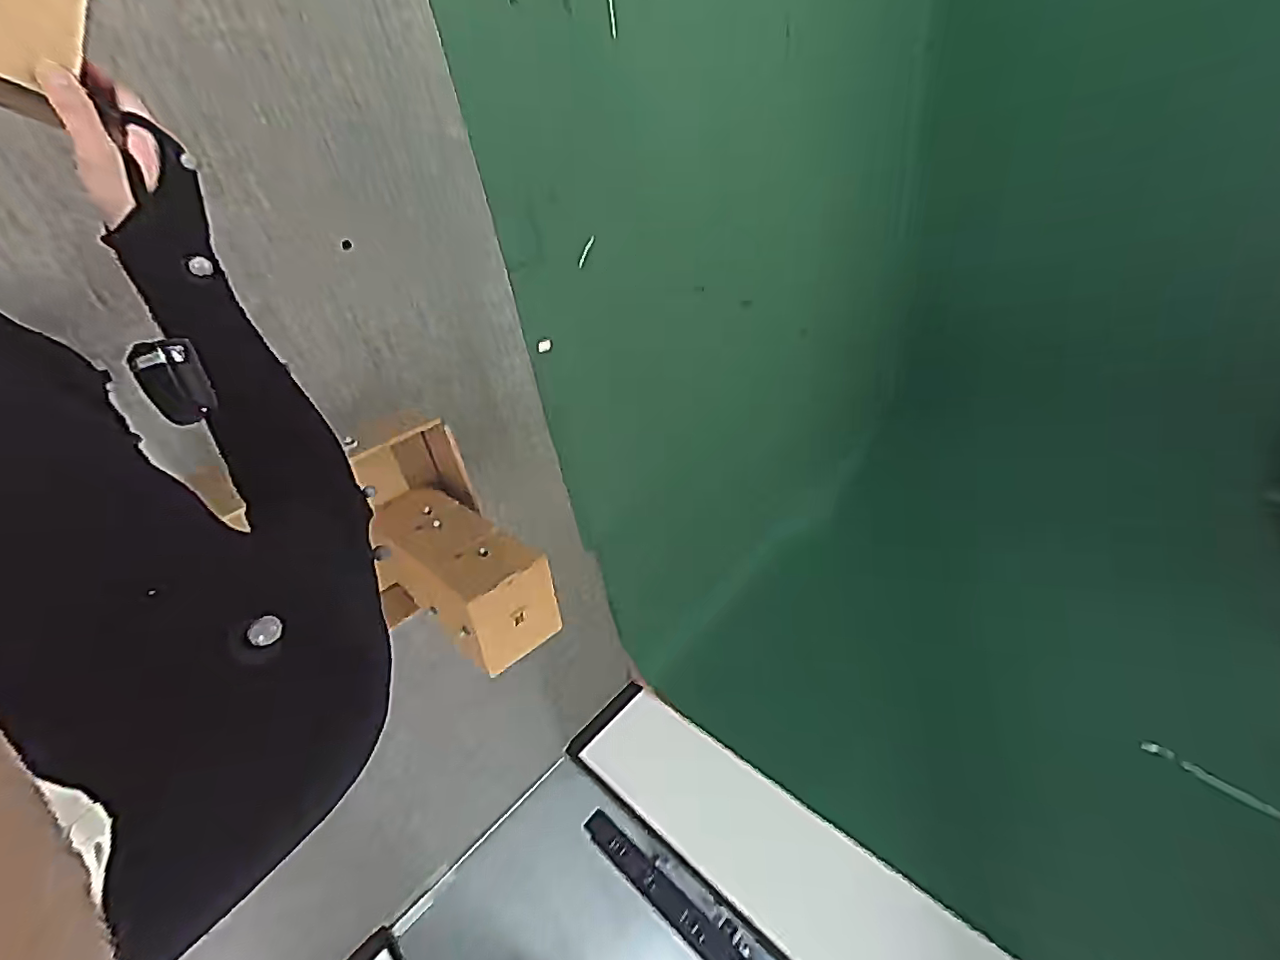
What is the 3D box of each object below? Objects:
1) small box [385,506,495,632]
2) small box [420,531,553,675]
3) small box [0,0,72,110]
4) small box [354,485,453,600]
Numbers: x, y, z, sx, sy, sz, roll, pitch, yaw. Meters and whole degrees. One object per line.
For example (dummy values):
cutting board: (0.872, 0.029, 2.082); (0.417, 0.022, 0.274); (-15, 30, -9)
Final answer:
small box: (-0.406, 0.180, 1.142); (0.168, 0.176, 0.179); (-31, 127, -37)
small box: (-0.292, 0.226, 1.035); (0.168, 0.176, 0.179); (-29, 125, -37)
small box: (-0.497, -0.385, 0.356); (0.168, 0.176, 0.179); (5, 104, -50)
small box: (-0.523, 0.137, 1.247); (0.168, 0.176, 0.179); (-34, 128, -36)
